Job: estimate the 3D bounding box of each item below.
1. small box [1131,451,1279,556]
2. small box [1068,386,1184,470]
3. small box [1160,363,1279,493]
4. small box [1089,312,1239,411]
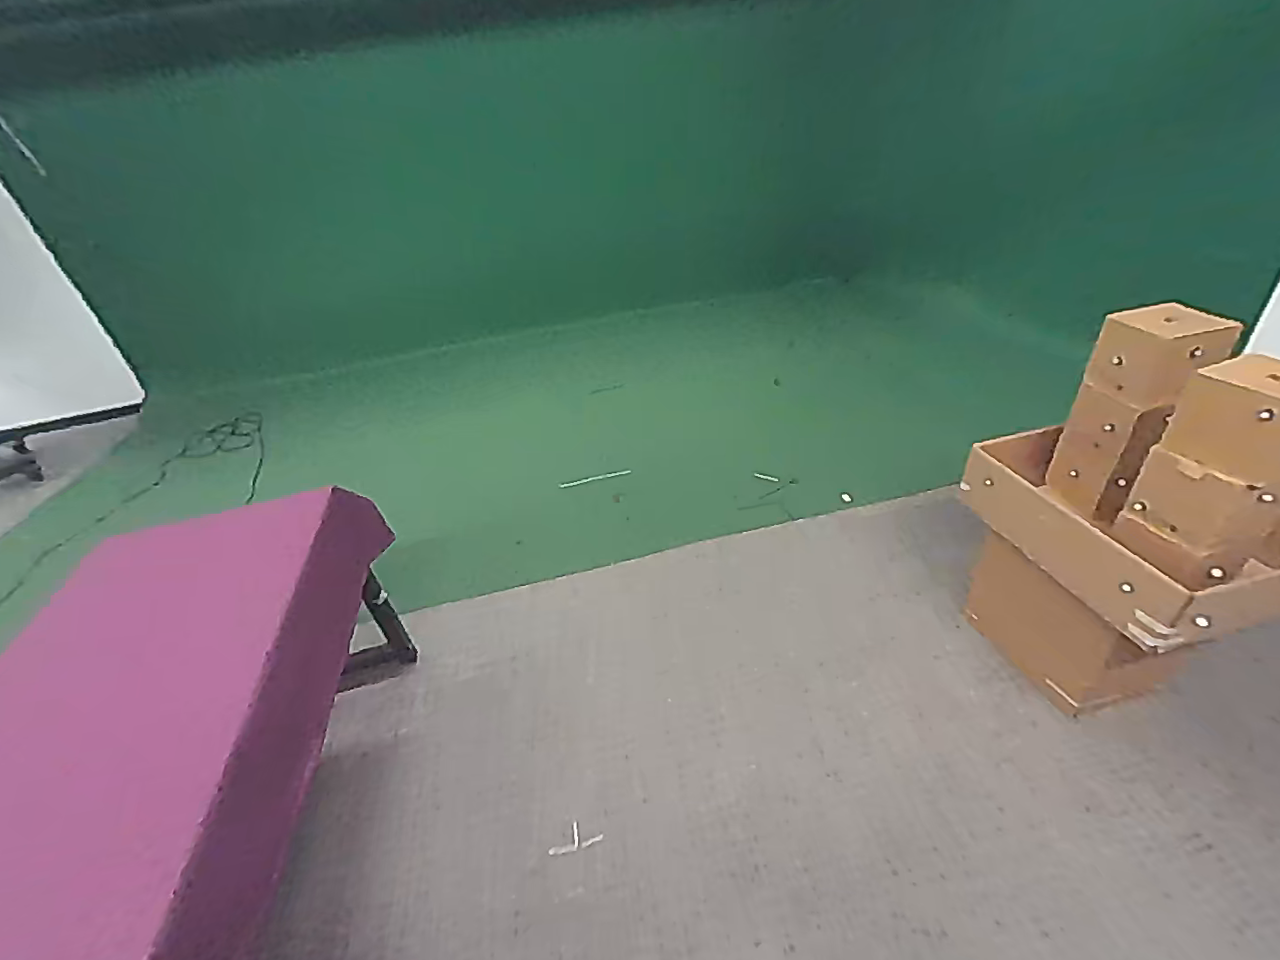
[{"bbox_3d":[1.175,0.035,1.116,0.179,0.176,0.168,-14,34,-8],"label":"small box"},{"bbox_3d":[1.234,-0.141,1.368,0.179,0.176,0.168,-10,35,-4],"label":"small box"},{"bbox_3d":[1.164,-0.101,1.028,0.168,0.176,0.179,-15,35,-11],"label":"small box"},{"bbox_3d":[1.218,-0.279,1.279,0.179,0.176,0.168,-10,36,-2],"label":"small box"}]
